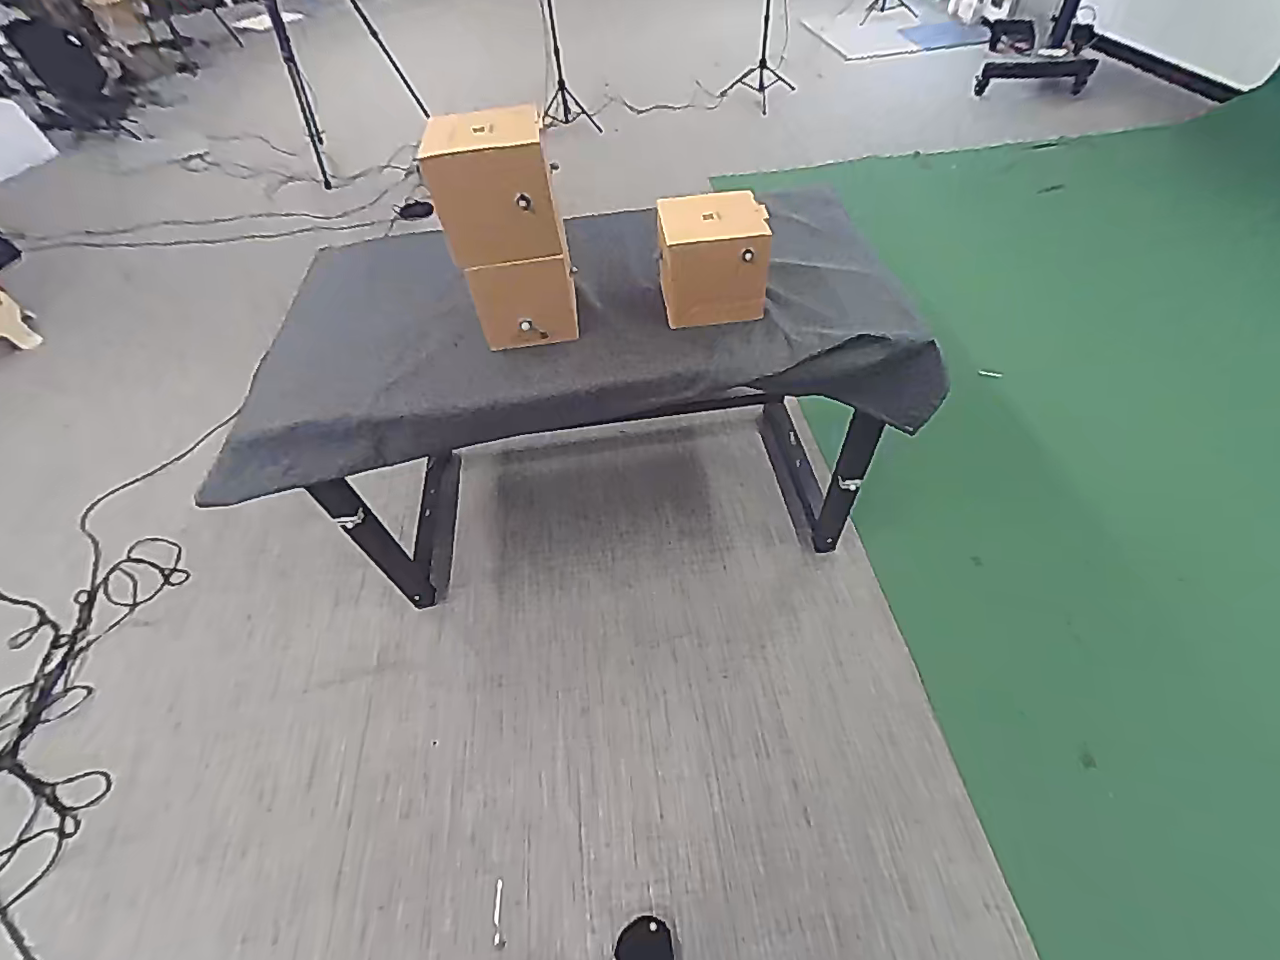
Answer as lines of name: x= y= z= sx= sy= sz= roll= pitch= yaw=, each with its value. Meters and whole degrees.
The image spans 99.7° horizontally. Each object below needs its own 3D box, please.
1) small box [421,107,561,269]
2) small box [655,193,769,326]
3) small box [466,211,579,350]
small box: x=-0.226 y=-0.464 z=0.868 sx=0.179 sy=0.176 sz=0.168 roll=-10 pitch=51 yaw=-1
small box: x=0.127 y=-0.401 z=0.998 sx=0.179 sy=0.176 sz=0.168 roll=-6 pitch=51 yaw=-1
small box: x=-0.209 y=-0.366 z=0.996 sx=0.168 sy=0.176 sz=0.179 roll=-8 pitch=52 yaw=-1
